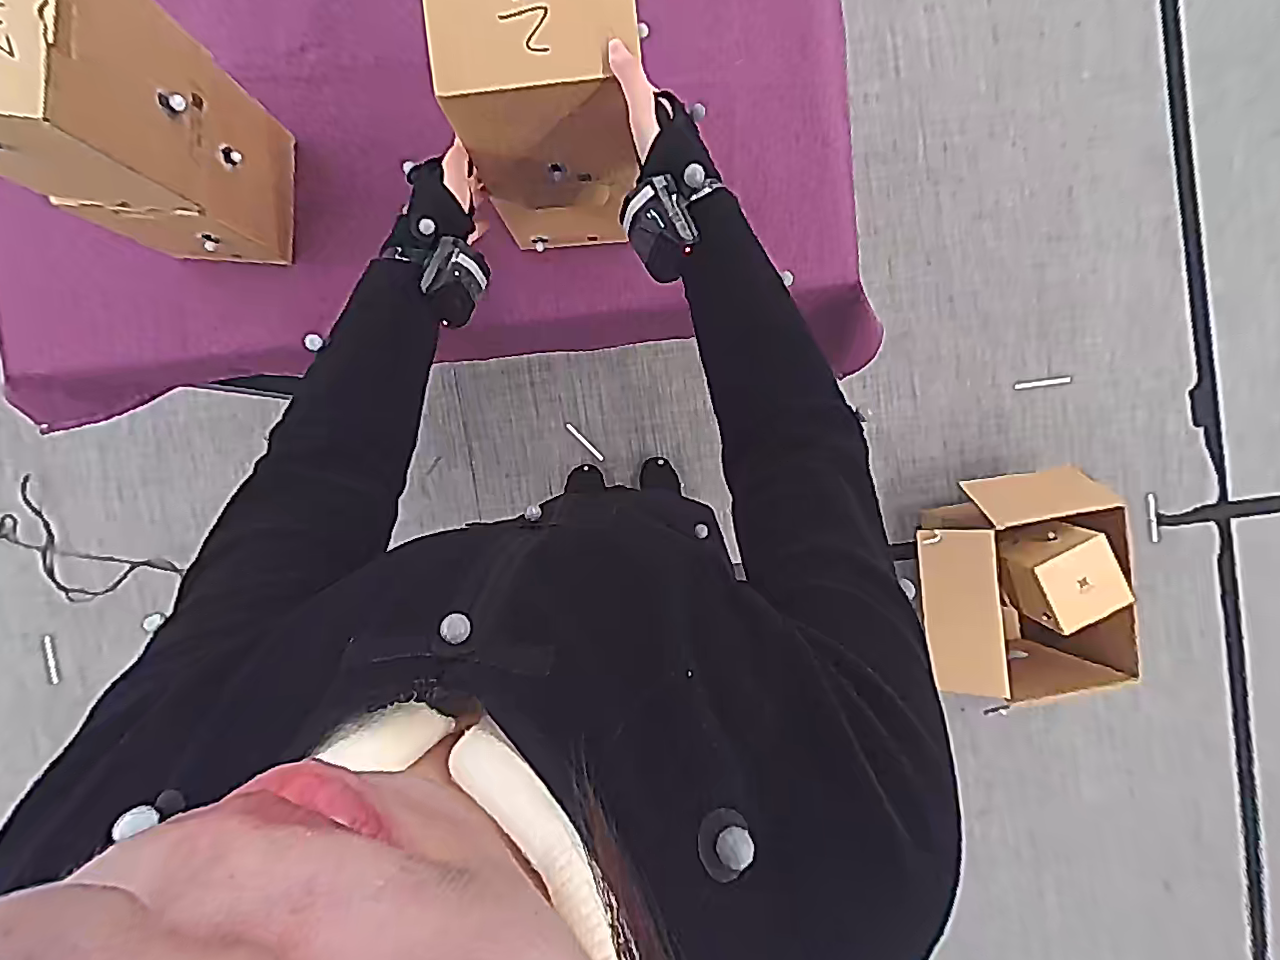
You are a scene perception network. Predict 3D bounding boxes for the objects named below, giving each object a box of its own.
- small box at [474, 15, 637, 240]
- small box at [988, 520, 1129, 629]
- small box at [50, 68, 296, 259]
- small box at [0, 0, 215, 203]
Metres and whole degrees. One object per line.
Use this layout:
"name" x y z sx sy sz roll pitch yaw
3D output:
"small box" -0.091 -0.409 0.663 0.168 0.176 0.179 -4 92 0
"small box" 0.953 0.207 1.249 0.168 0.176 0.179 -29 97 4
"small box" -0.556 -0.388 0.665 0.168 0.176 0.179 4 93 -1
"small box" -0.549 -0.380 0.501 0.179 0.176 0.168 5 94 -2
